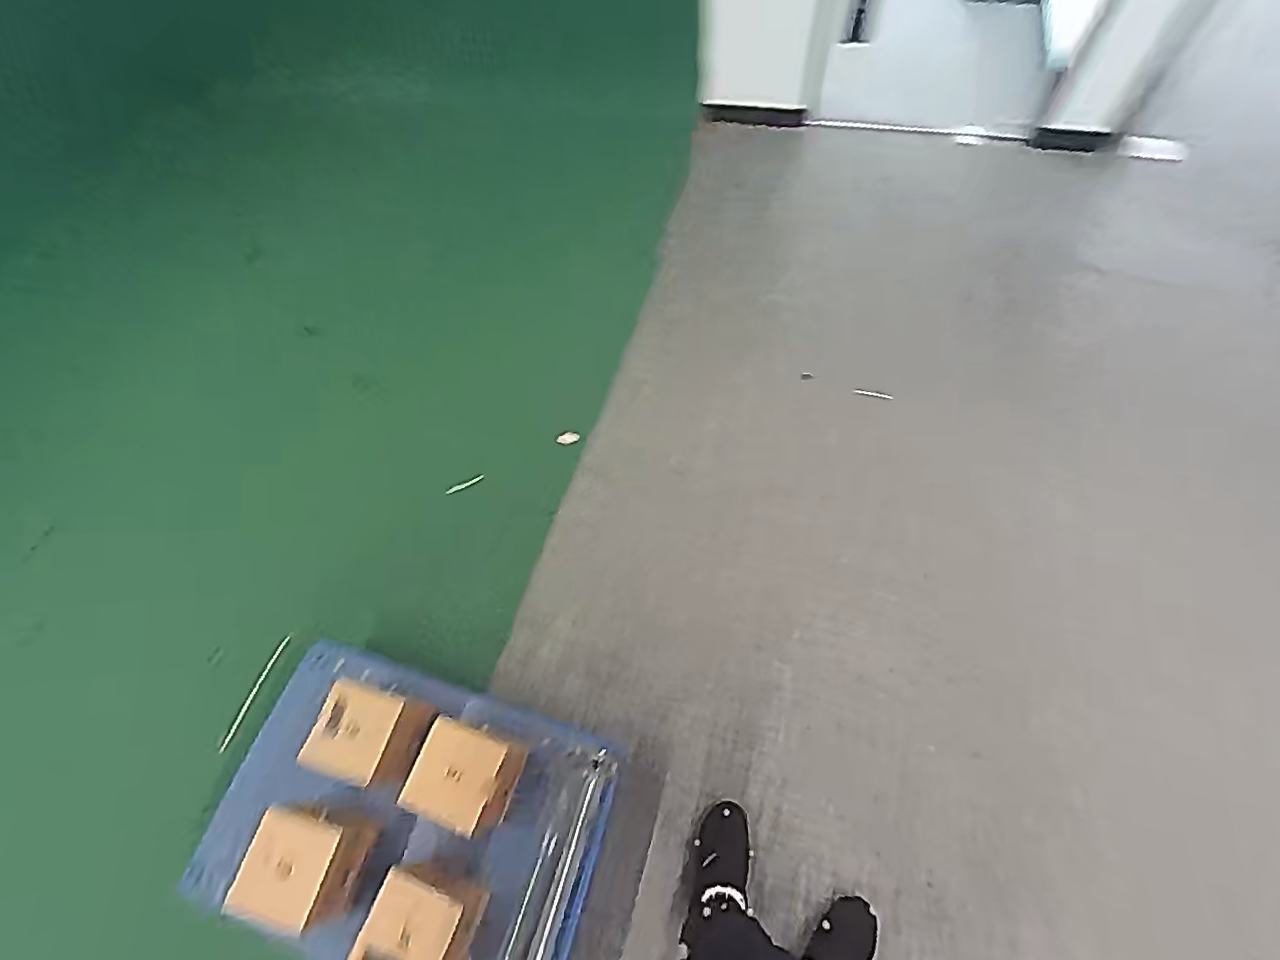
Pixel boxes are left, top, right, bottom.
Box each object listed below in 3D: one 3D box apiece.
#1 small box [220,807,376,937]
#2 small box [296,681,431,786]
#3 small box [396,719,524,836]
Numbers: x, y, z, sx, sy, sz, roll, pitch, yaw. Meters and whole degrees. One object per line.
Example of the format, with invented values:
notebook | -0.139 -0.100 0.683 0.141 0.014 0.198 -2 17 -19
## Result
small box | -0.684 0.788 1.108 0.179 0.176 0.168 11 64 10
small box | -0.609 0.567 1.213 0.179 0.176 0.168 13 66 10
small box | -0.375 0.632 1.162 0.179 0.176 0.168 16 66 11
